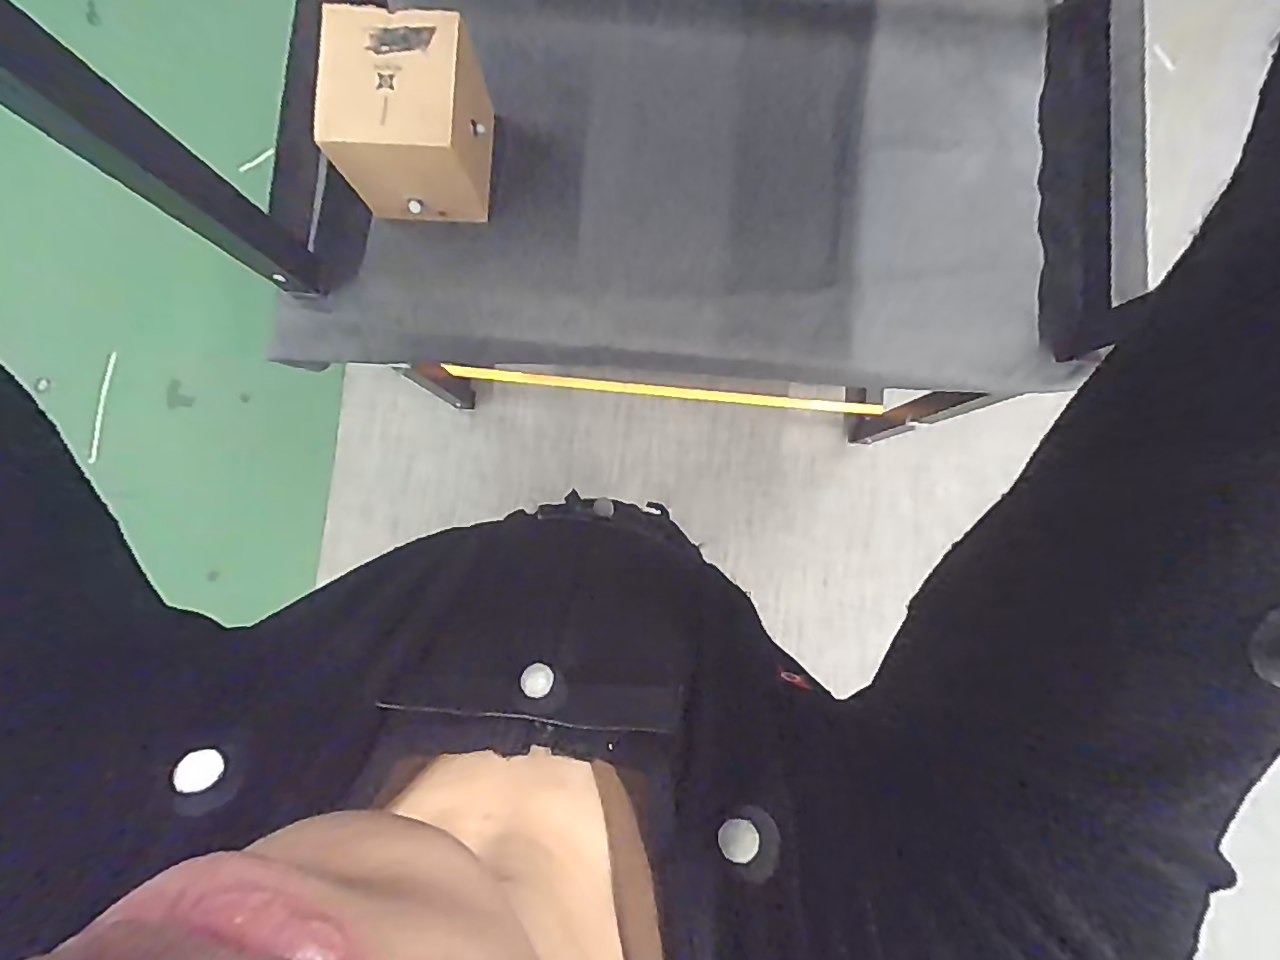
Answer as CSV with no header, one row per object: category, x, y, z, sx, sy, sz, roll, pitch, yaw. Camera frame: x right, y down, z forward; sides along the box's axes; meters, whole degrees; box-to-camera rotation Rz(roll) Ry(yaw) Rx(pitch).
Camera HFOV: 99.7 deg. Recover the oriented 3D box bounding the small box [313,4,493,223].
small box,-0.302,-0.477,0.726,0.168,0.176,0.179,2,86,0
